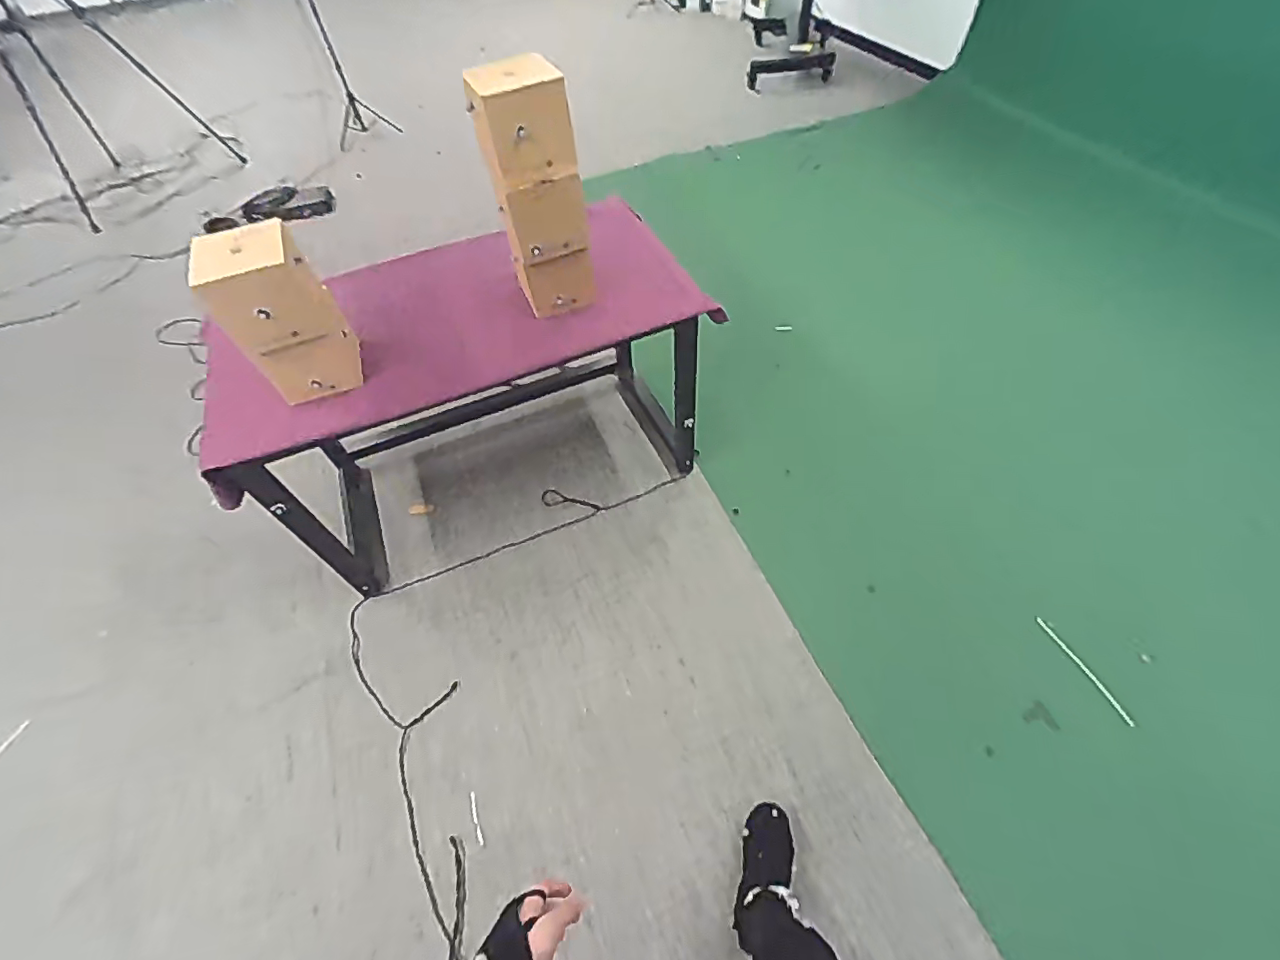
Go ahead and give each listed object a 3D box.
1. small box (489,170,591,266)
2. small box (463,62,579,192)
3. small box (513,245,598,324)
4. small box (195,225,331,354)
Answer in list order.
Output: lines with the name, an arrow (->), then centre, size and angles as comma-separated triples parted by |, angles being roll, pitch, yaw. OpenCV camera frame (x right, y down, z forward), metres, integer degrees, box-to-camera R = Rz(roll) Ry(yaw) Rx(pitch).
small box -> -0.222, -0.611, 1.231 | 0.168, 0.176, 0.179 | -22, 53, -10
small box -> -0.238, -0.716, 1.108 | 0.168, 0.176, 0.179 | -23, 53, -11
small box -> -0.216, -0.528, 1.373 | 0.168, 0.176, 0.179 | -20, 54, -9
small box -> -0.752, -0.378, 1.095 | 0.168, 0.176, 0.179 | -21, 55, -12
